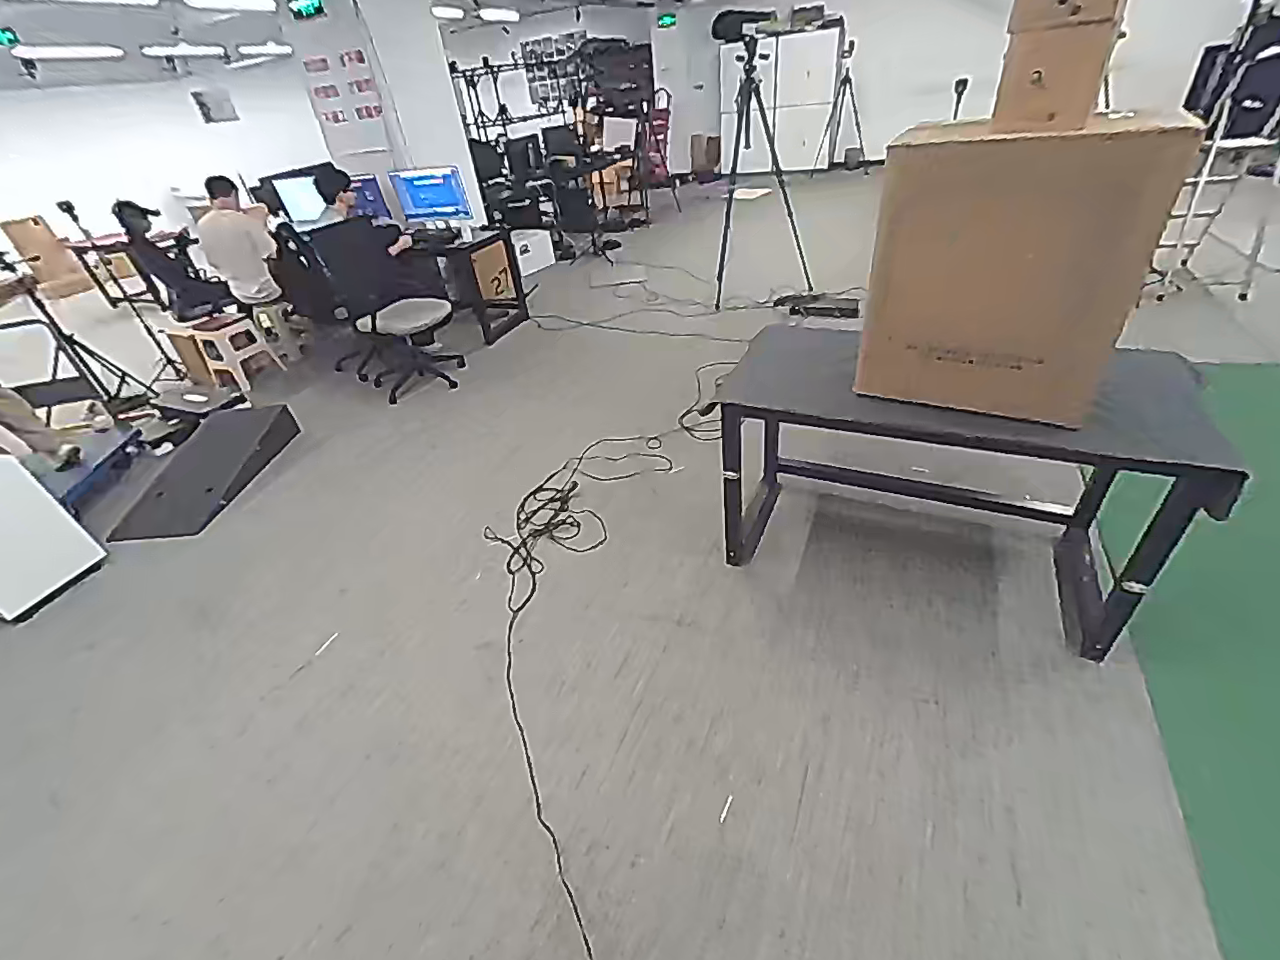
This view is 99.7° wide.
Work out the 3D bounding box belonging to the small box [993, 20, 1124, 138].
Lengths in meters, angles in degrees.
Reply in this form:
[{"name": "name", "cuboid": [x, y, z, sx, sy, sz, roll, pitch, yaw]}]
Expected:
[{"name": "small box", "cuboid": [0.833, -0.796, 1.086, 0.168, 0.176, 0.179, 19, 46, 32]}]
